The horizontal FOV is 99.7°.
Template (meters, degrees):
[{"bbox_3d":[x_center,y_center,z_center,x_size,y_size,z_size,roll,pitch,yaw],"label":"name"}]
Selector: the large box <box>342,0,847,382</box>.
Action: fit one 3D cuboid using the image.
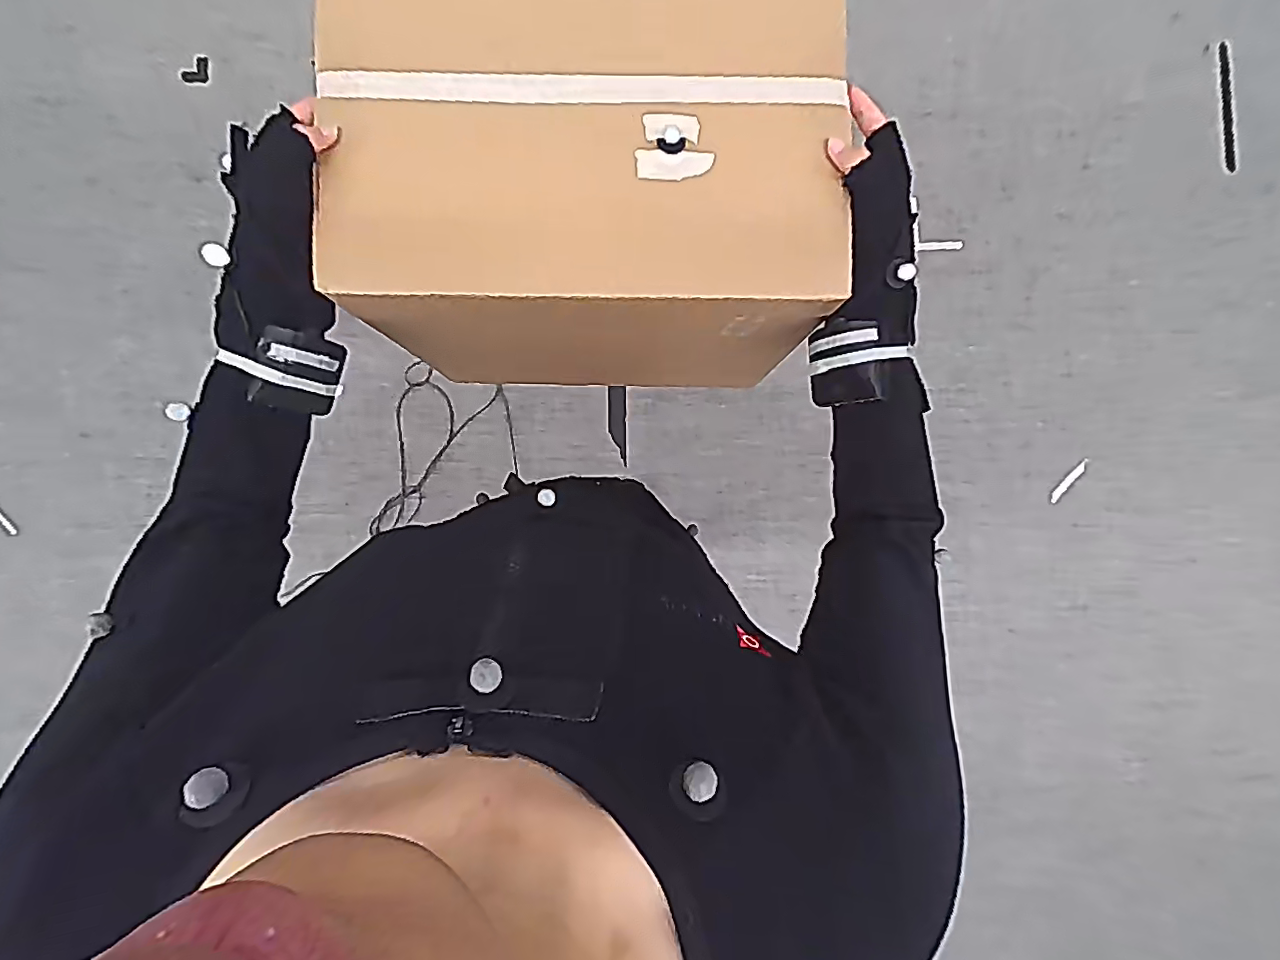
[{"bbox_3d":[-0.039,-0.293,0.580,0.408,0.320,0.320,0,88,-1],"label":"large box"}]
